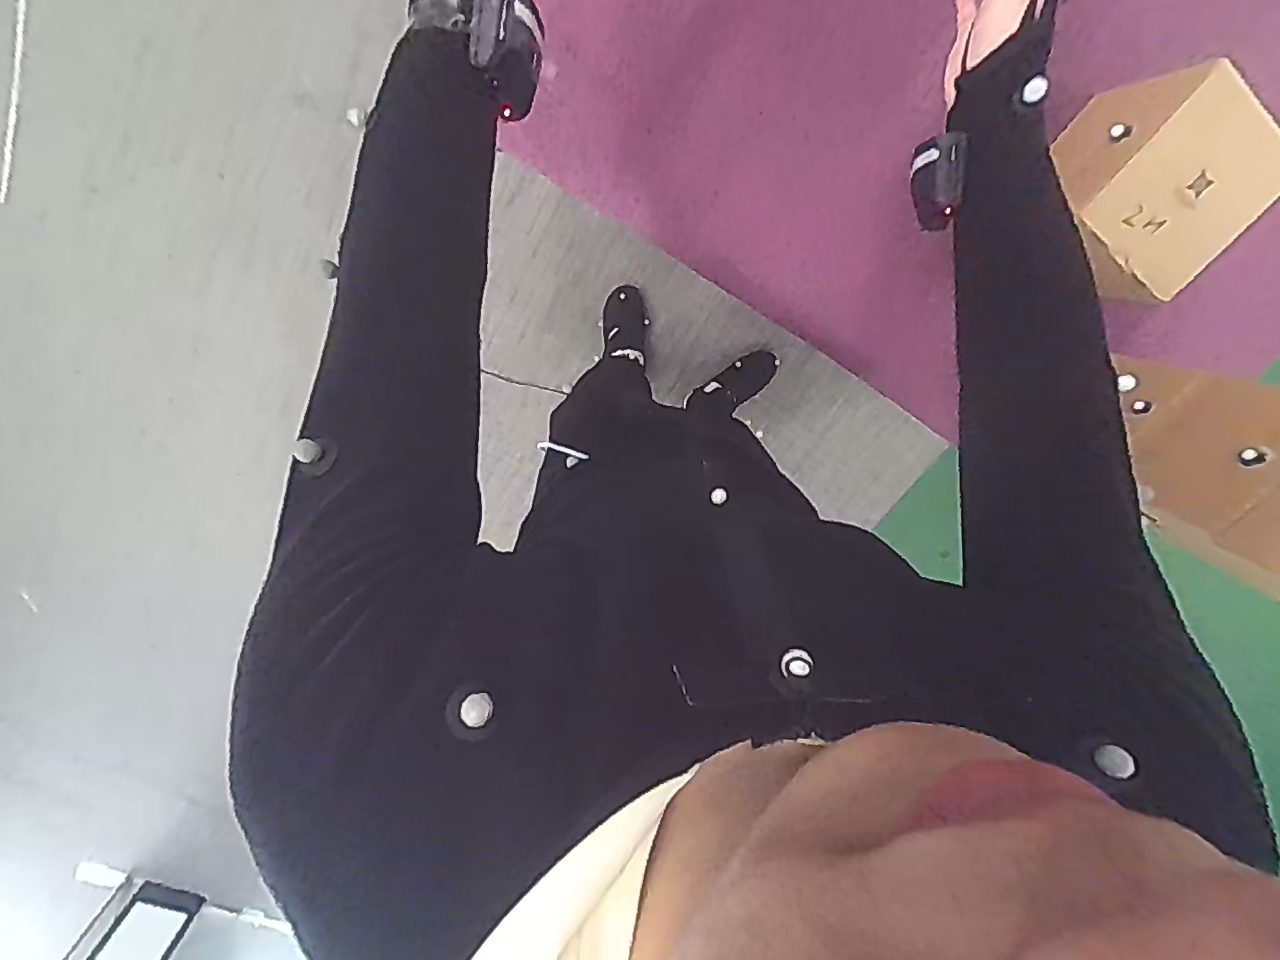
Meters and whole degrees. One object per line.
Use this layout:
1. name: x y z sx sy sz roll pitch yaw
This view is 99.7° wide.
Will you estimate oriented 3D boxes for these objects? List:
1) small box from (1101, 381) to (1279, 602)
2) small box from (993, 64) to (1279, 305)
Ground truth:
1. small box: 0.718 0.007 0.637 0.168 0.176 0.179 33 109 -13
2. small box: 0.589 -0.343 0.658 0.168 0.176 0.179 33 110 -14
